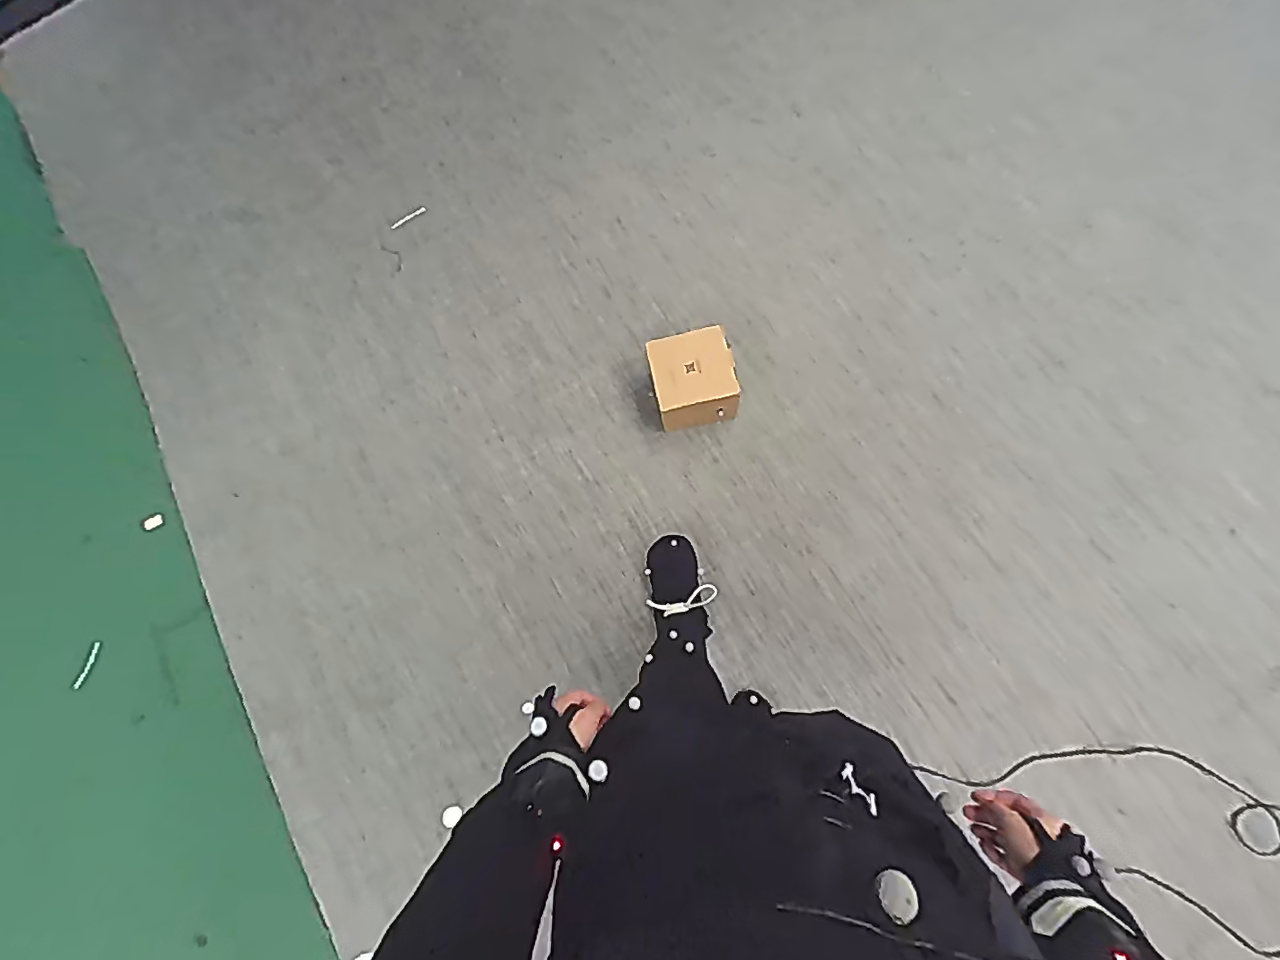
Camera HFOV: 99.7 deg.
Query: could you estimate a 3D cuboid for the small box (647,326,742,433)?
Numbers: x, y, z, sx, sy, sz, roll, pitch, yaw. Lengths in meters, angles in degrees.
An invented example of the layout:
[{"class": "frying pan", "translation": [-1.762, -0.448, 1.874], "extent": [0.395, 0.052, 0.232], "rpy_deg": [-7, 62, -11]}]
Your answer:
[{"class": "small box", "translation": [0.123, -0.221, 1.233], "extent": [0.179, 0.176, 0.168], "rpy_deg": [-14, 77, 4]}]
